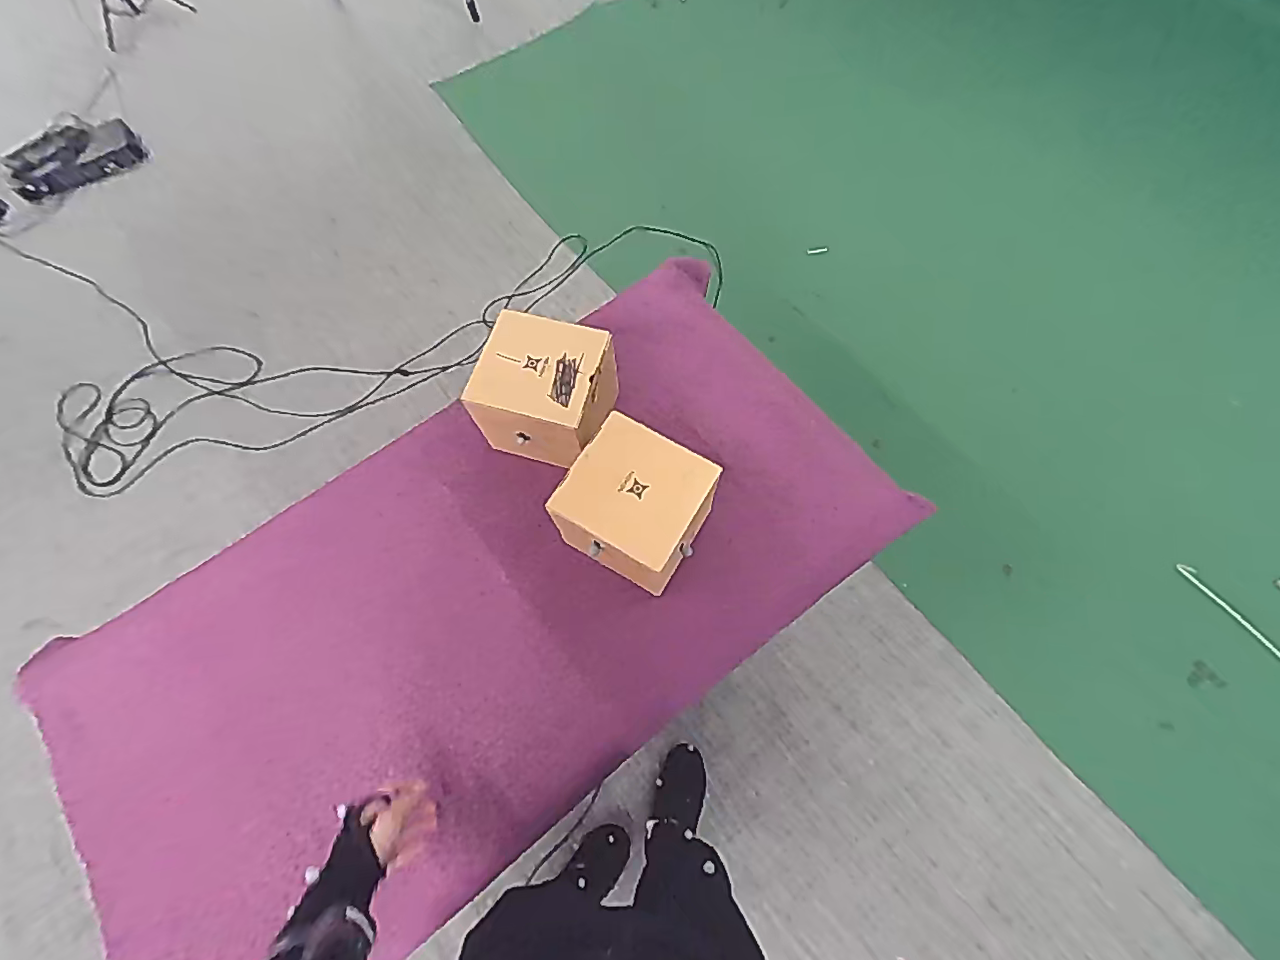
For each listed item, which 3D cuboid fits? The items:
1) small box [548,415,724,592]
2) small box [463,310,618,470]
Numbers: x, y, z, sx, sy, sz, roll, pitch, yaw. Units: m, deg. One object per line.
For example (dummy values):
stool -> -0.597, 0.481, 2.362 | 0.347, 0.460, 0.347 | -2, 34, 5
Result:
small box -> -0.001, 0.044, 0.770 | 0.179, 0.176, 0.168 | 29, 72, 14
small box -> -0.140, -0.130, 0.842 | 0.179, 0.176, 0.168 | 15, 69, 8
